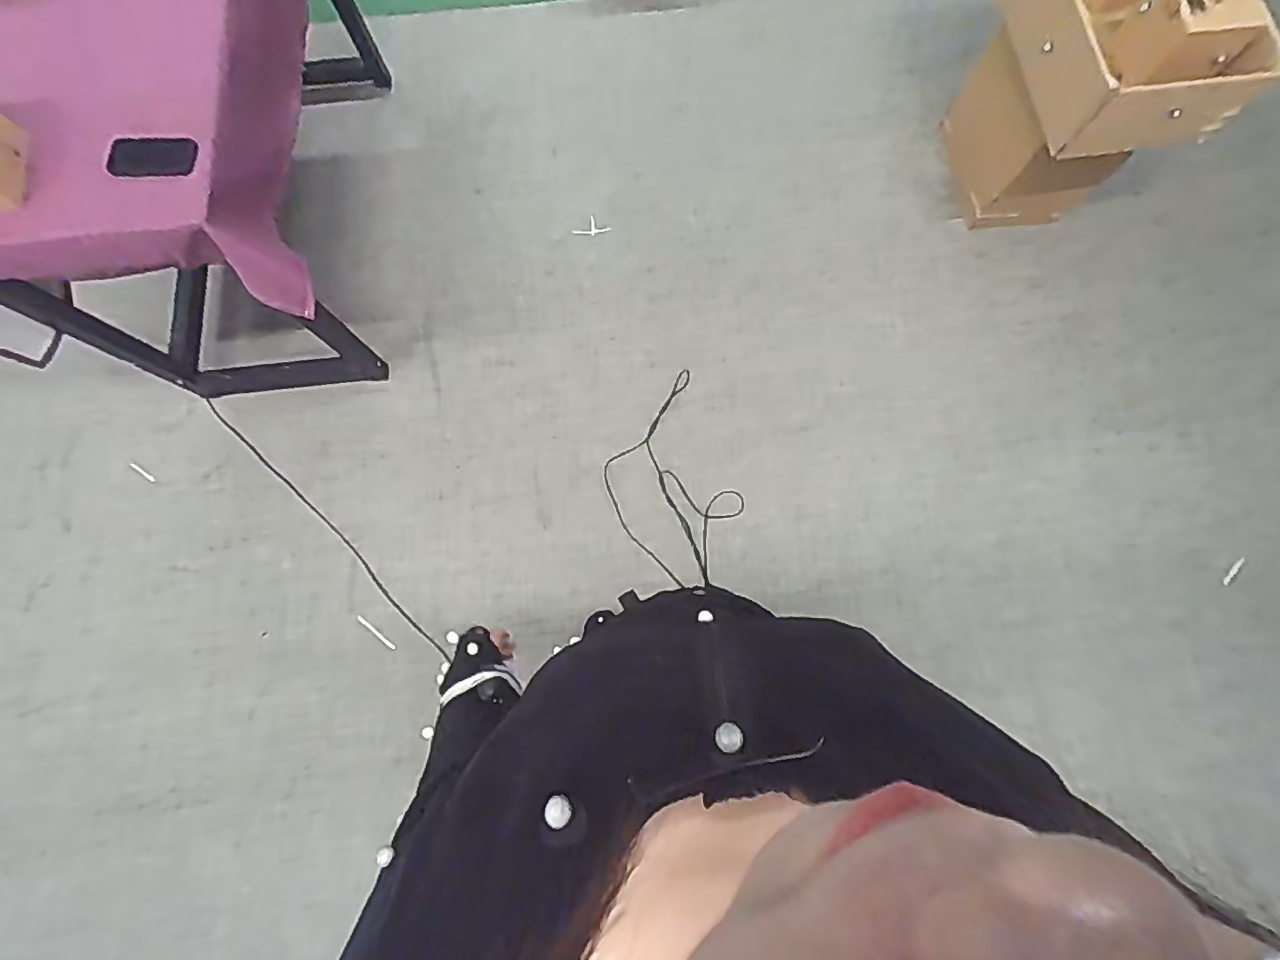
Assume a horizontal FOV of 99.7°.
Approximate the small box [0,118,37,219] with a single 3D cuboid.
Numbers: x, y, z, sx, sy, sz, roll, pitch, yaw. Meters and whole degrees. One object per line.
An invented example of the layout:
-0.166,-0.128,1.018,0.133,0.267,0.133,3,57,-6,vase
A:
-1.198,-0.560,0.916,0.179,0.176,0.168,-10,76,-2,small box
